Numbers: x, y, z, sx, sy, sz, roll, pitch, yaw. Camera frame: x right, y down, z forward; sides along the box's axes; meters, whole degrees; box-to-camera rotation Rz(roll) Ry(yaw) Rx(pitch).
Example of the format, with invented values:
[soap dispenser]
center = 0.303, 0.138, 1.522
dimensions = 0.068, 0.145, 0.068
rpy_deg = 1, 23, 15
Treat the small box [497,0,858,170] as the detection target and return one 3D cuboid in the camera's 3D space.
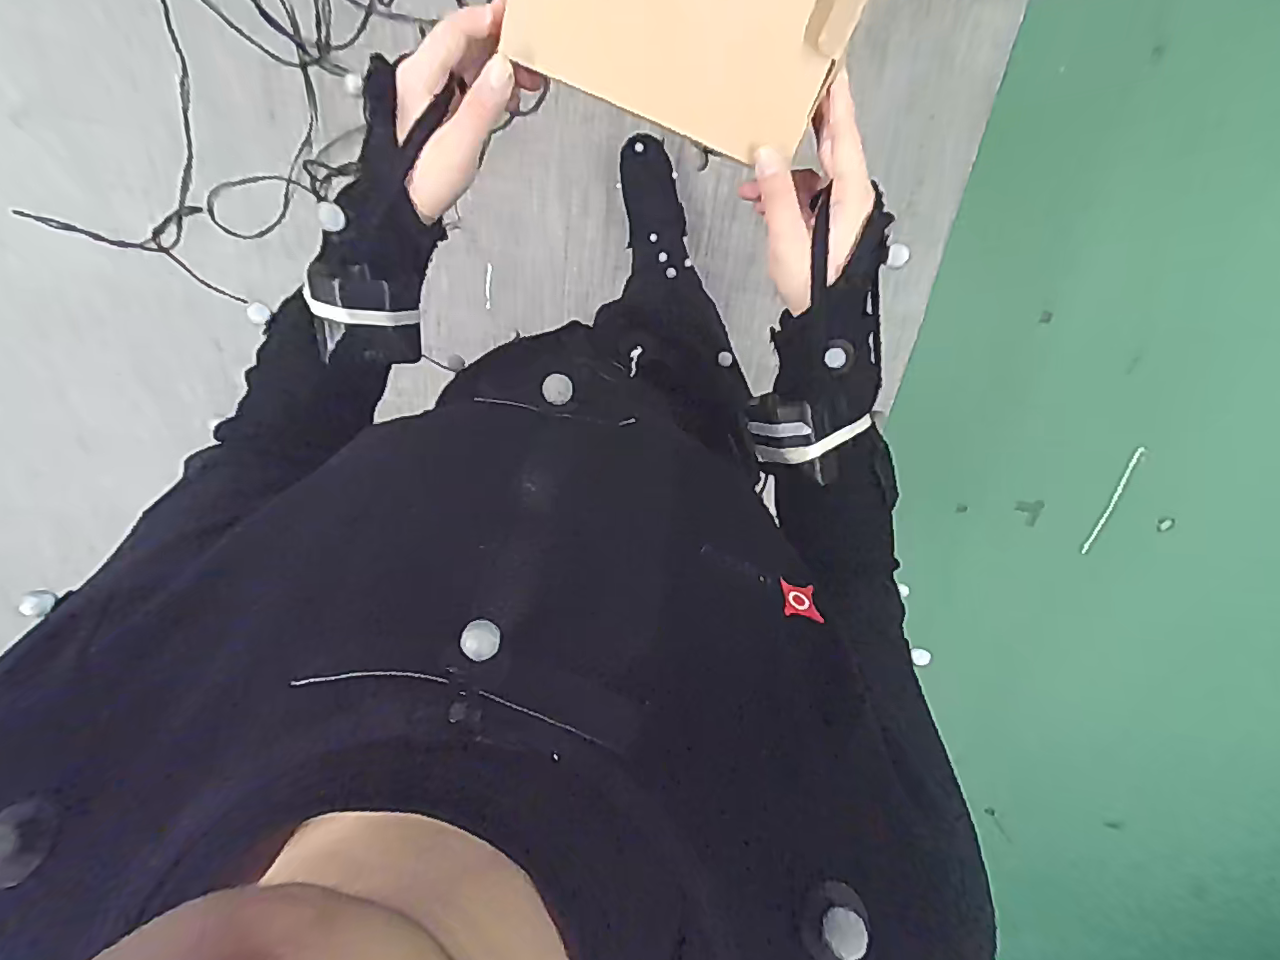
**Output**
[small box]
center = 0.032, -0.314, 0.331
dimensions = 0.179, 0.176, 0.168
rpy_deg = 17, 121, -9
